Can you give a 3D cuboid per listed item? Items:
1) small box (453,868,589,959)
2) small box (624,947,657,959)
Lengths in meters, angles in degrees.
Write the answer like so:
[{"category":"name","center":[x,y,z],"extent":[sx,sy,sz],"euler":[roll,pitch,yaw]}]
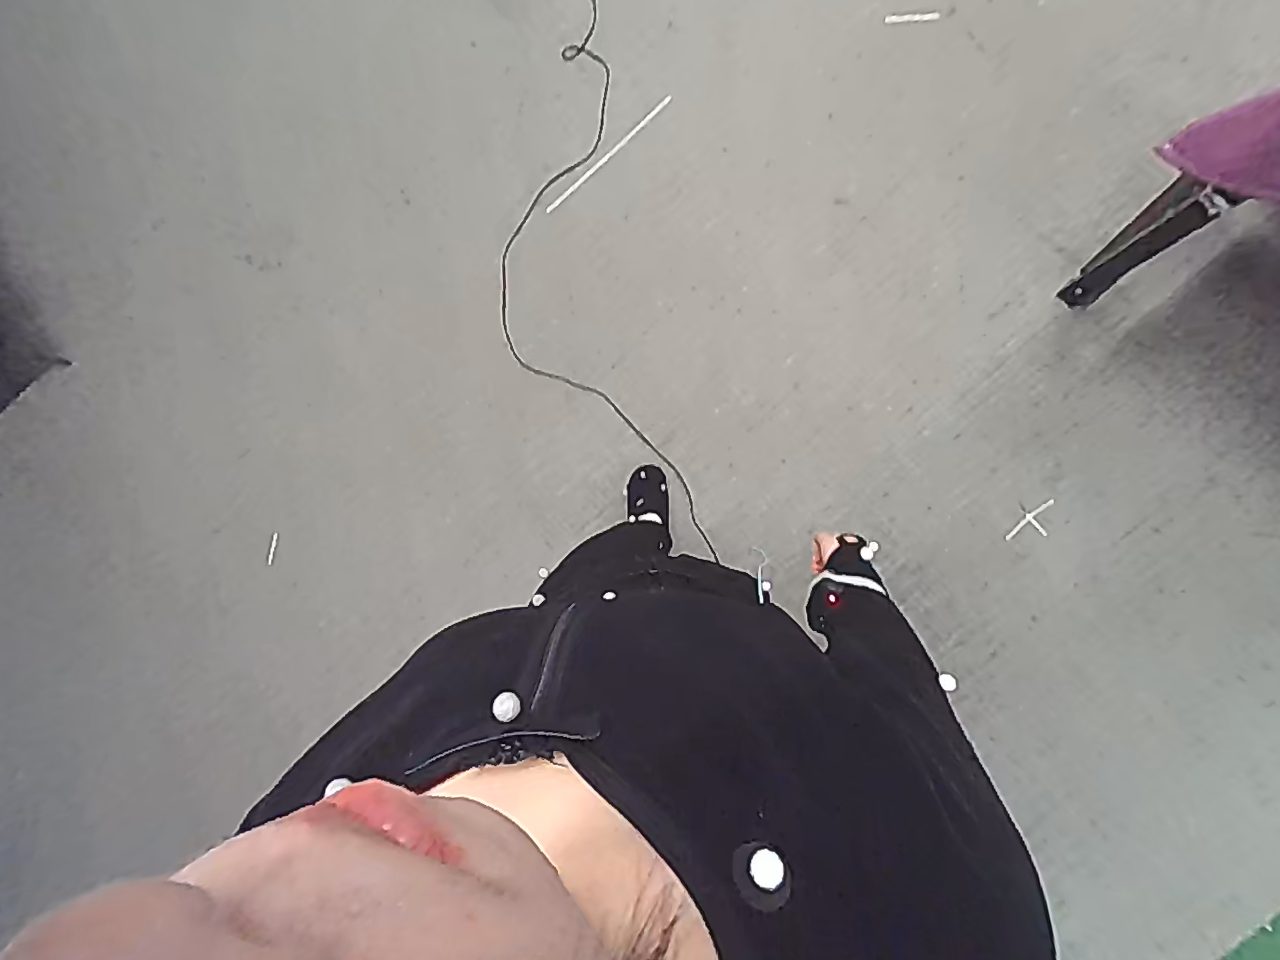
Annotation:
[{"category":"small box","center":[-0.221,0.898,1.023],"extent":[0.179,0.176,0.168],"euler":[-38,83,4]},{"category":"small box","center":[-0.019,1.153,1.139],"extent":[0.179,0.176,0.168],"euler":[-34,82,6]}]
